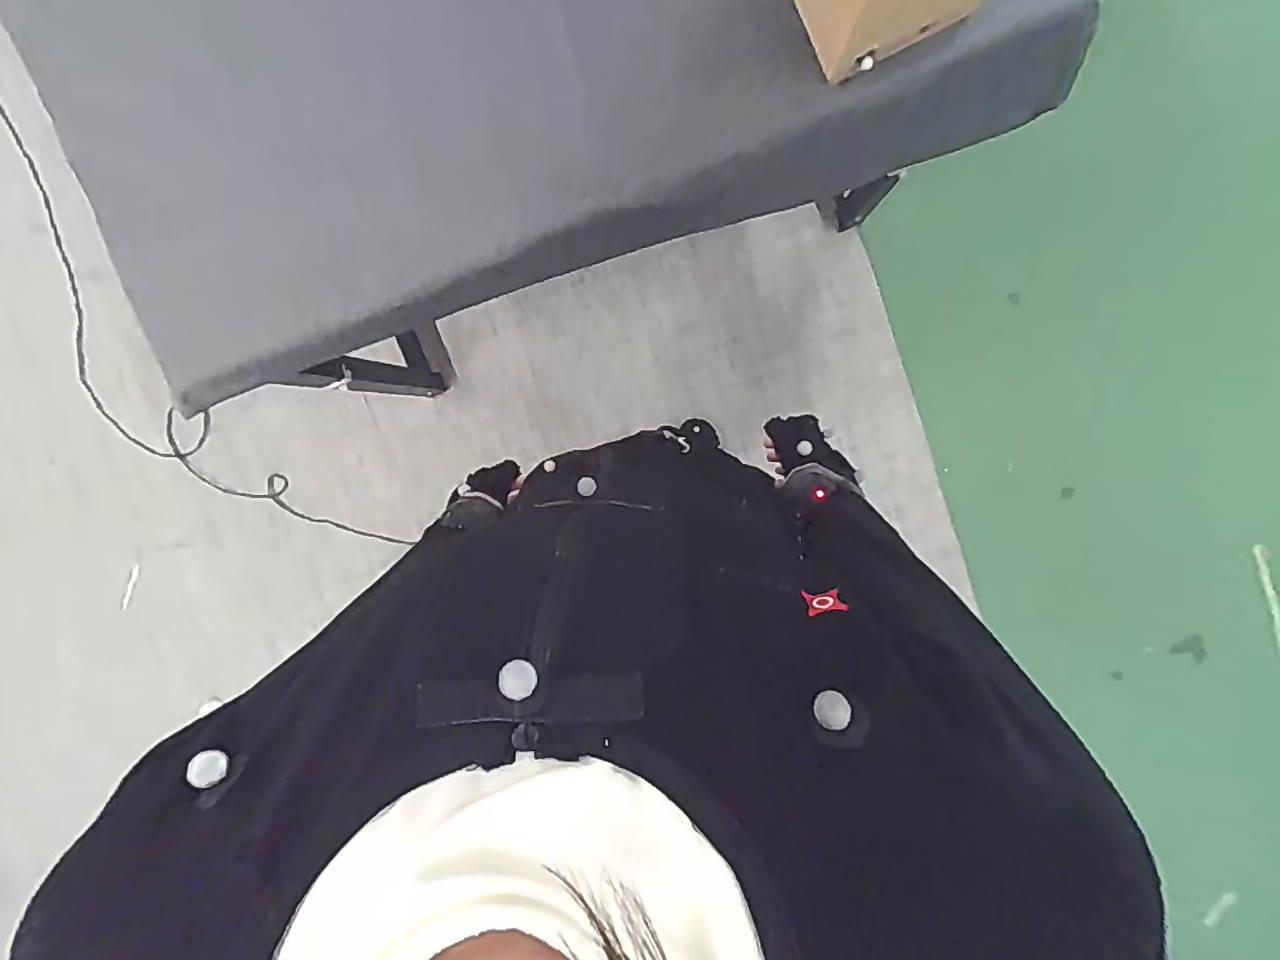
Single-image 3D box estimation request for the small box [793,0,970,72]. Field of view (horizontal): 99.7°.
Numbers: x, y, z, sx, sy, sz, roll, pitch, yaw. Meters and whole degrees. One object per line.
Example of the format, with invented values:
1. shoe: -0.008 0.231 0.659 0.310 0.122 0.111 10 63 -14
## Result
1. small box: 0.252 -0.561 0.541 0.168 0.176 0.179 -24 92 7
